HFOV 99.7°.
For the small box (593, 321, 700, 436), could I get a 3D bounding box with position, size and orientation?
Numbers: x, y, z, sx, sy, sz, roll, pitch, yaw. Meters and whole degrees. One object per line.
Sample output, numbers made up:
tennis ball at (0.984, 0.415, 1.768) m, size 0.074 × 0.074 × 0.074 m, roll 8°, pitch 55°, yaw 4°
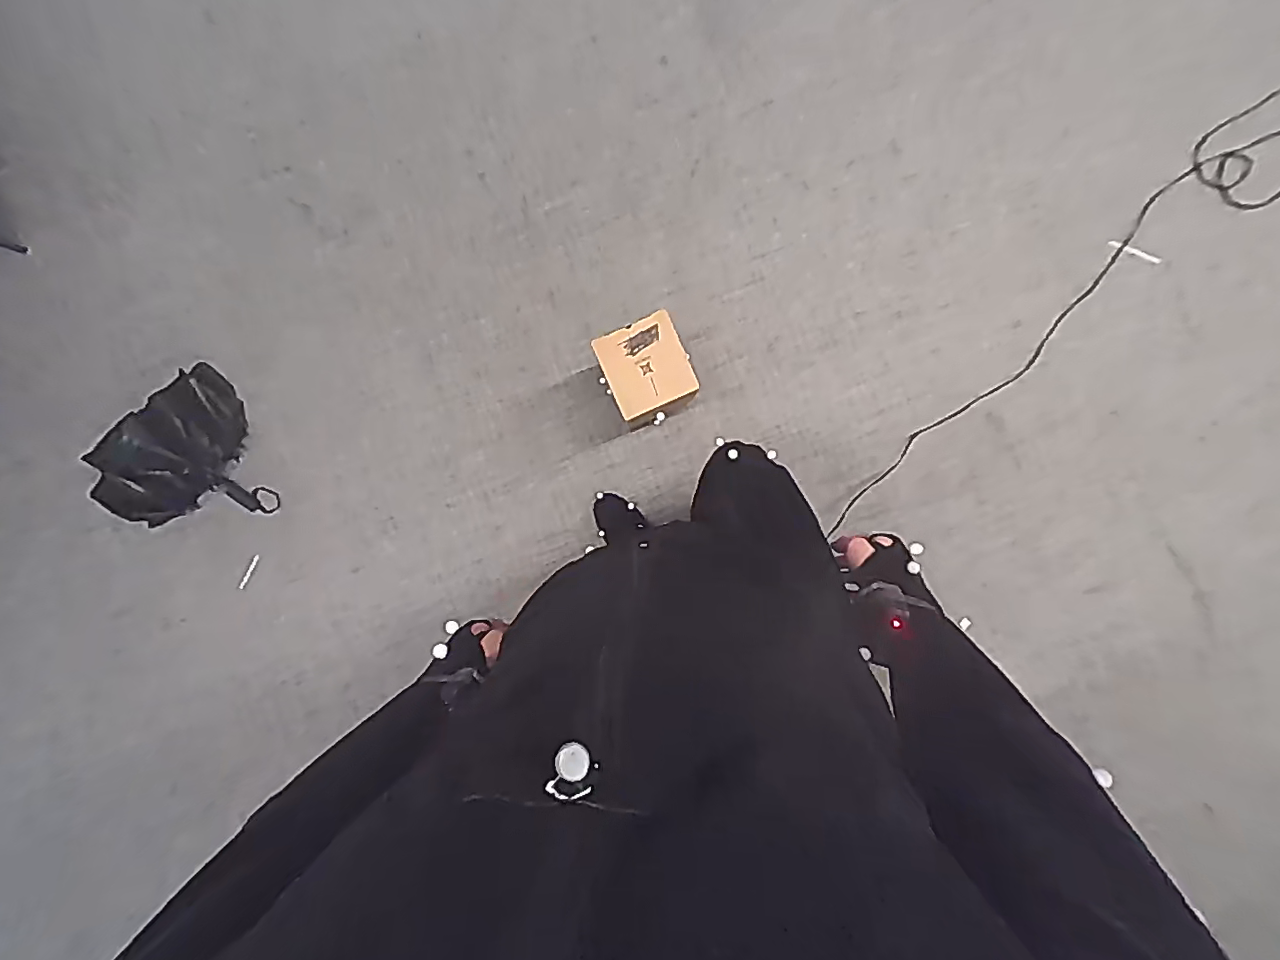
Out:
small box at (0.012, -0.206, 1.151) m, size 0.168 × 0.176 × 0.179 m, roll -24°, pitch 90°, yaw 1°
